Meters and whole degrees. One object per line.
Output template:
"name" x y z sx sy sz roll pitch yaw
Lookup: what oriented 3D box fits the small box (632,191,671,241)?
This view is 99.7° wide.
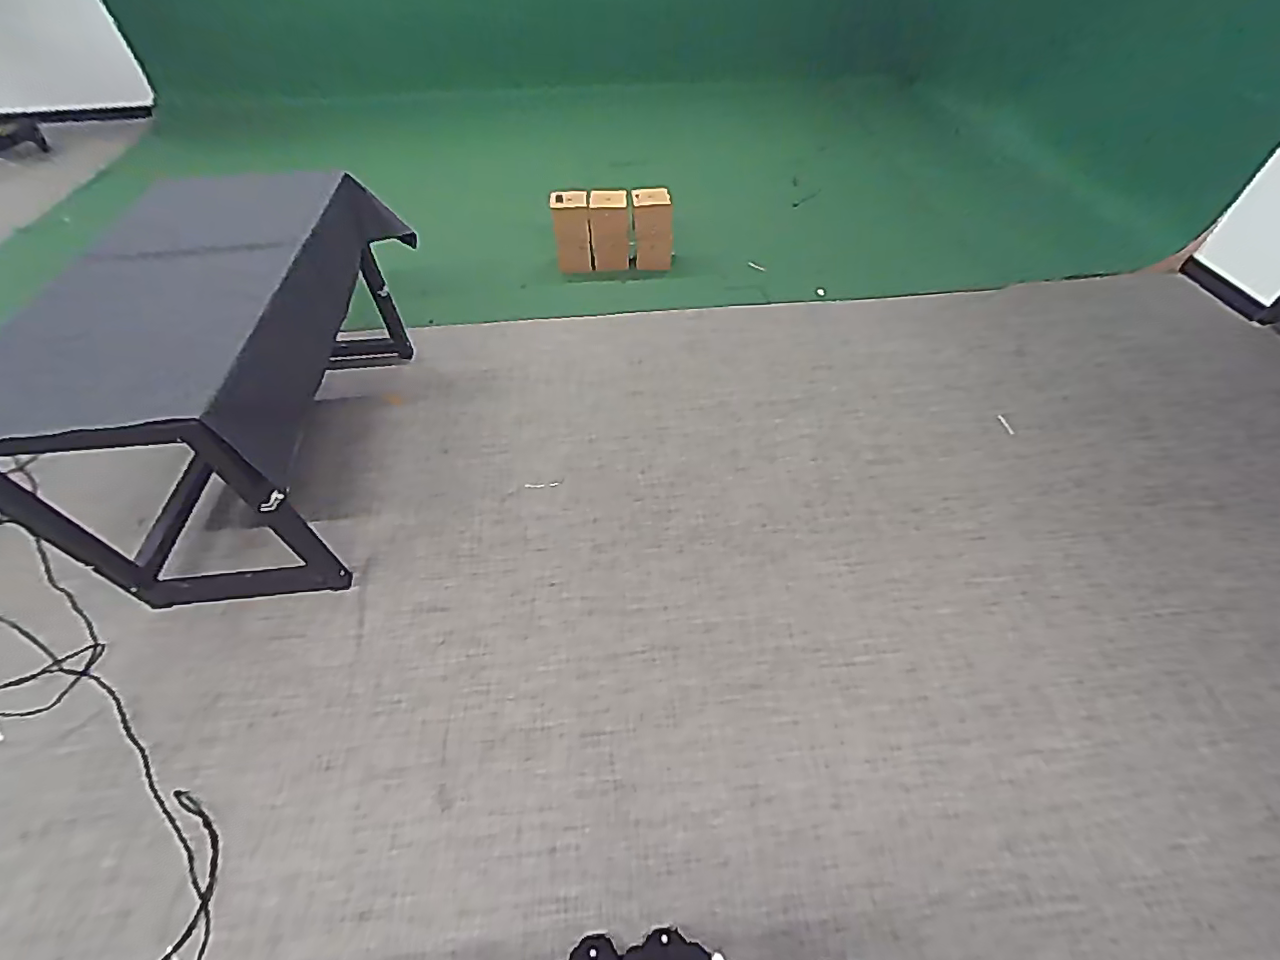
"small box" 0.053 -1.287 2.636 0.179 0.176 0.168 -4 51 -4
